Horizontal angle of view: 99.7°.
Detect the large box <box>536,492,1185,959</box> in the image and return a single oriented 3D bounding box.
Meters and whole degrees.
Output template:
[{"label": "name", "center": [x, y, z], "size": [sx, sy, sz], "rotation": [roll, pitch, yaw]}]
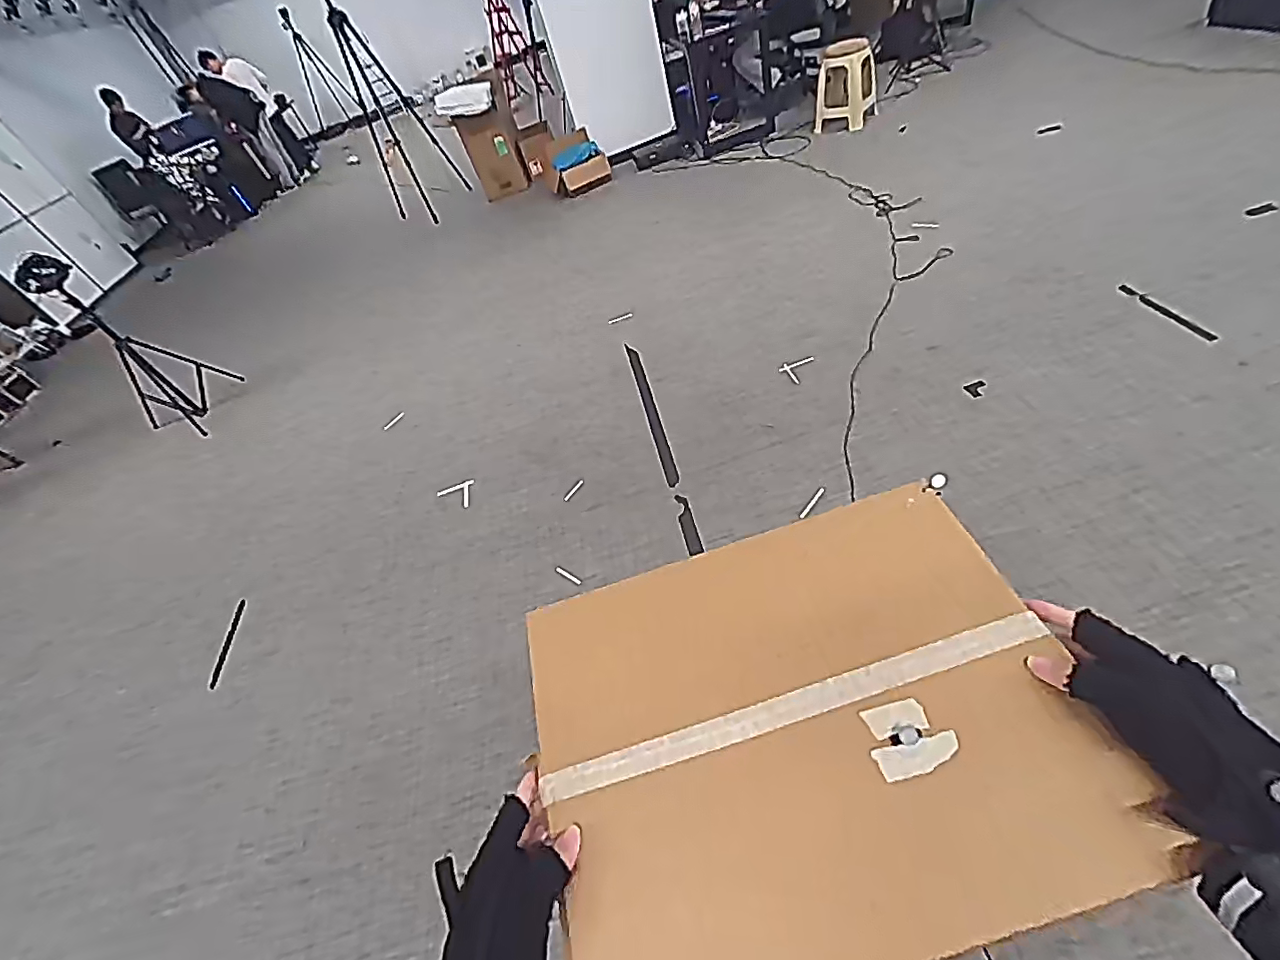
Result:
[{"label": "large box", "center": [0.151, 0.277, 0.546], "size": [0.408, 0.320, 0.320], "rotation": [-19, 50, 0]}]
